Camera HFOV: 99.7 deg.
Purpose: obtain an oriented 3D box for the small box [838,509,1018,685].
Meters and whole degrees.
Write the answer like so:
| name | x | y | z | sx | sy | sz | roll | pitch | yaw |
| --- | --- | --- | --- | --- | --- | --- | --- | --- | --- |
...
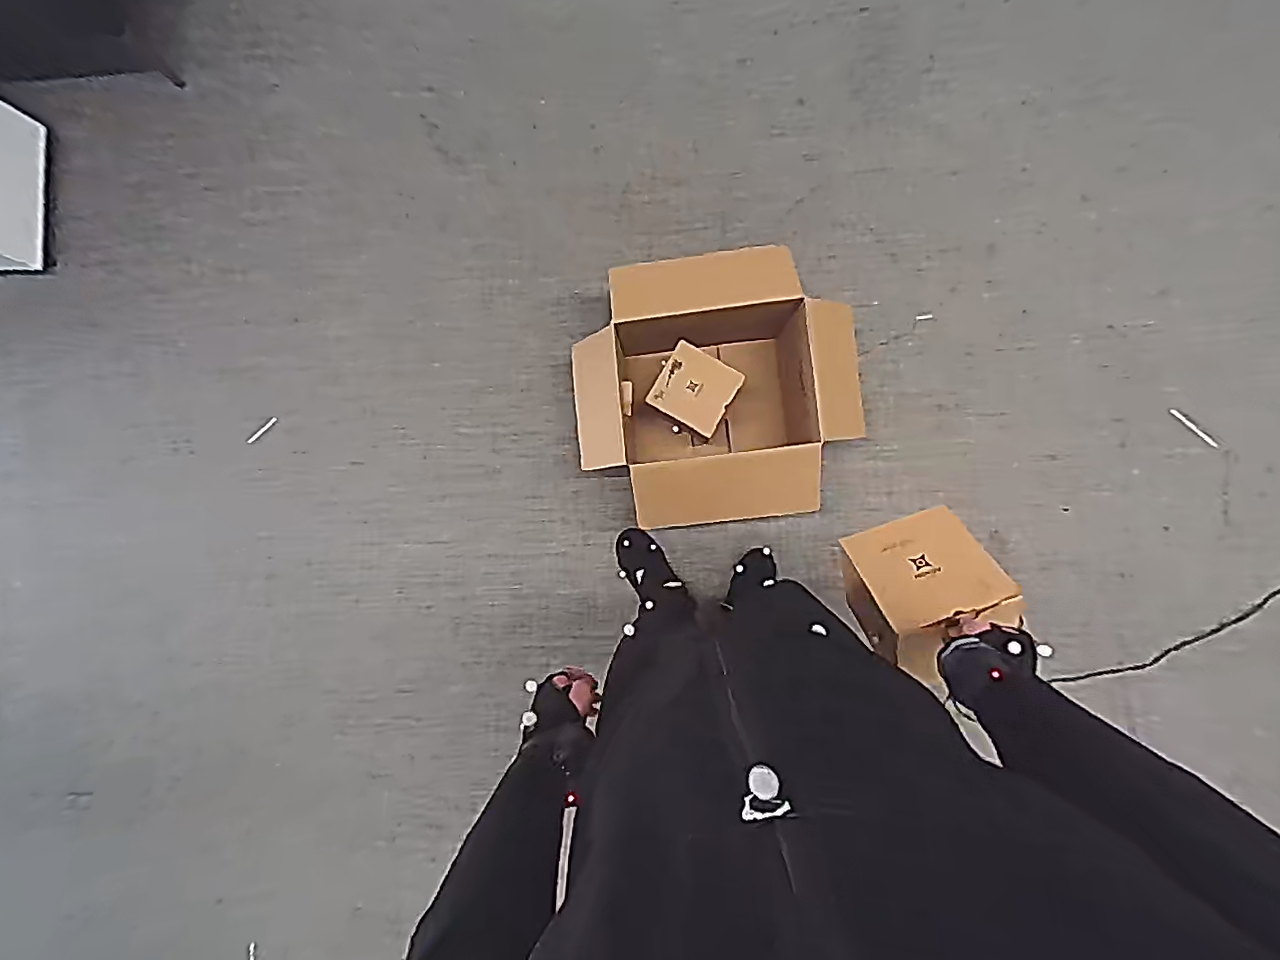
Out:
| name | x | y | z | sx | sy | sz | roll | pitch | yaw |
| --- | --- | --- | --- | --- | --- | --- | --- | --- | --- |
| small box | 0.414 | 0.179 | 0.800 | 0.168 | 0.179 | 0.176 | -19 | 129 | 4 |
